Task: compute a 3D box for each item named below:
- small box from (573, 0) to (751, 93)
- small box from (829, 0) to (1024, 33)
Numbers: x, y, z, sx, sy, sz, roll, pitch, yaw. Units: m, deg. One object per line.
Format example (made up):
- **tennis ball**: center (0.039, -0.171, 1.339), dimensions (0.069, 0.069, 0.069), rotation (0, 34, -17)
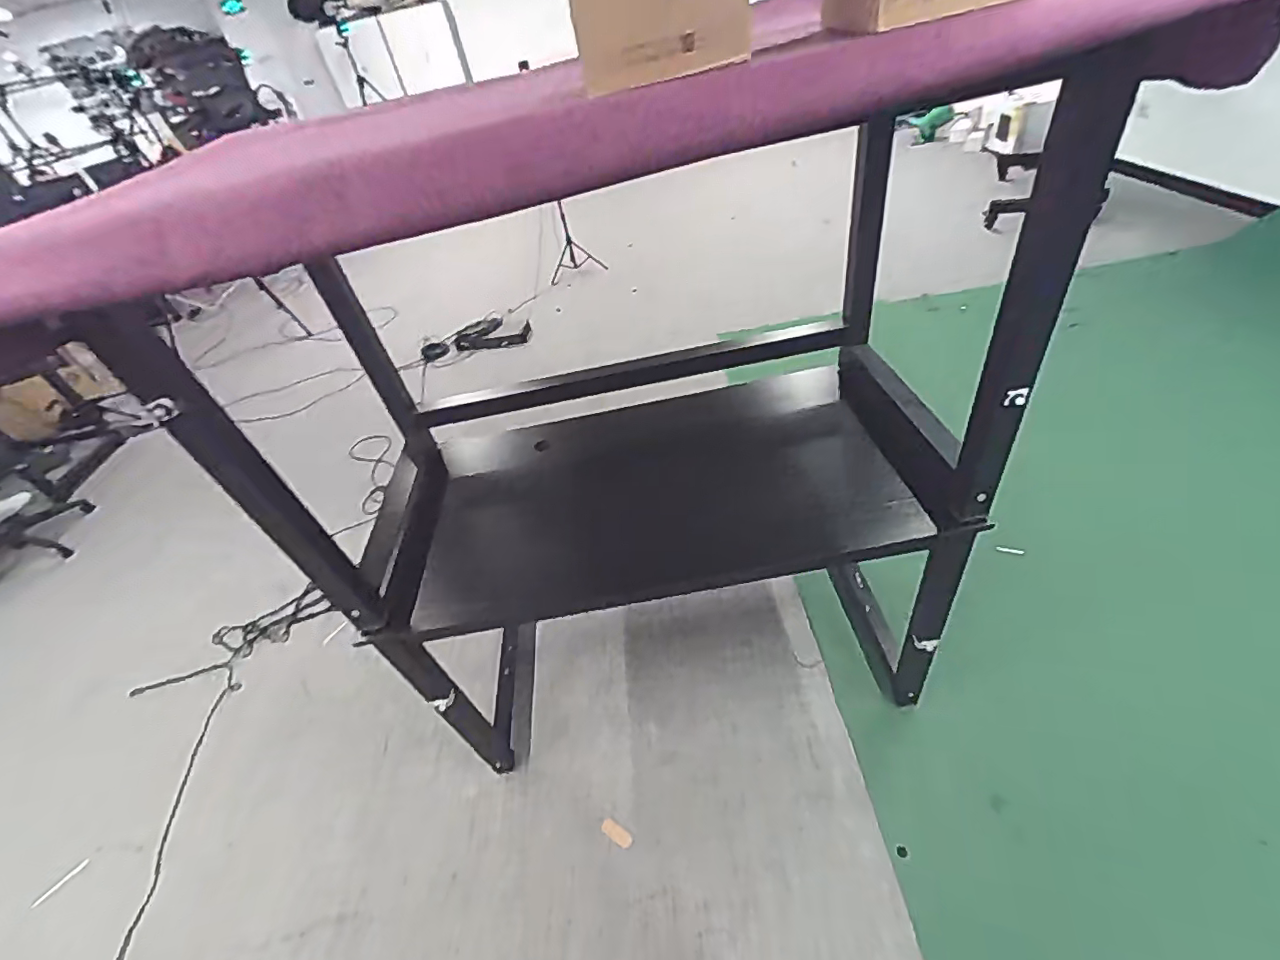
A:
- **small box**: center (0.013, -0.510, 0.545), dimensions (0.168, 0.176, 0.179), rotation (-10, 40, 3)
- **small box**: center (0.291, -0.556, 0.522), dimensions (0.168, 0.176, 0.179), rotation (-10, 41, 5)
